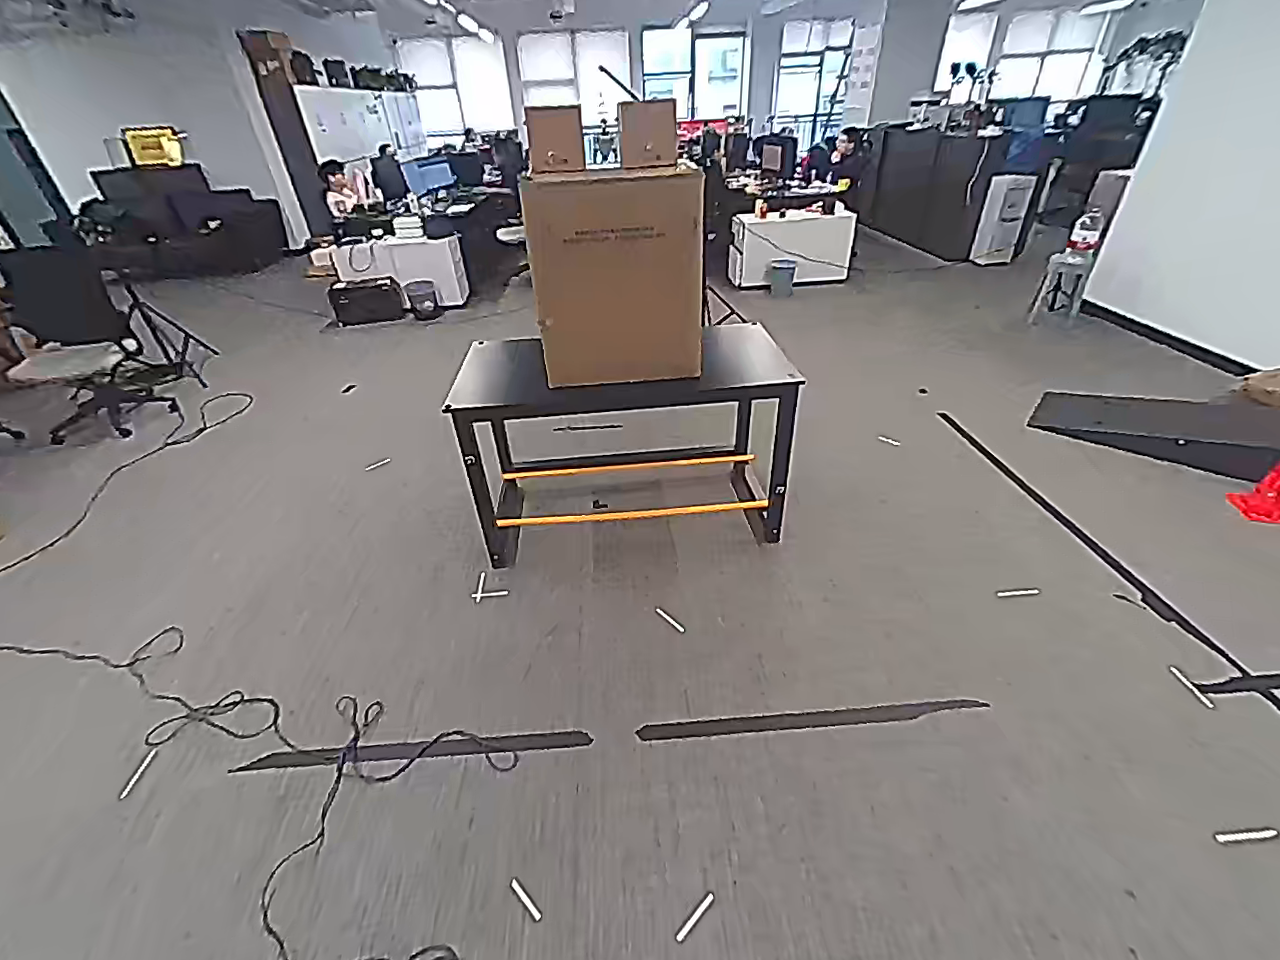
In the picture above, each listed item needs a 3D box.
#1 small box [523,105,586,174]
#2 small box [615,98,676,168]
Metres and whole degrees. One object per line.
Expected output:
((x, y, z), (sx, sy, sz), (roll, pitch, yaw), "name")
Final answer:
((-0.257, -1.037, 1.649), (0.168, 0.176, 0.179), (-6, 35, -4), "small box")
((0.015, -1.058, 1.650), (0.168, 0.176, 0.179), (-7, 35, -3), "small box")
